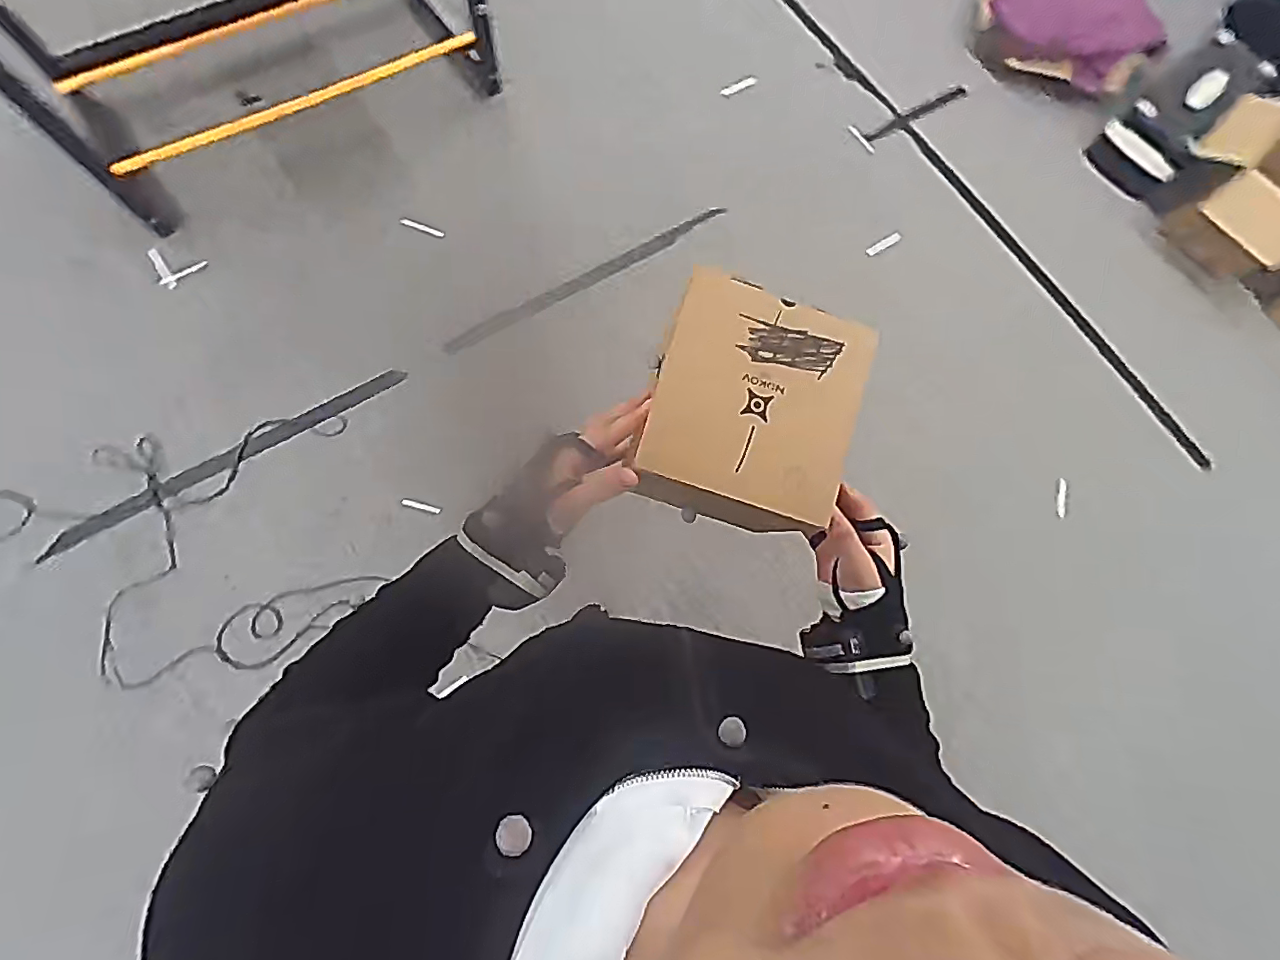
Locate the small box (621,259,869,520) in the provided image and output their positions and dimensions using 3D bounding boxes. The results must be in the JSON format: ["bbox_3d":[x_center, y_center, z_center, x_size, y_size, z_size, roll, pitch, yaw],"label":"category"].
[{"bbox_3d":[0.084,-0.068,0.515,0.168,0.176,0.179,17,82,-5],"label":"small box"}]

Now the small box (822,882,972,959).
[{"bbox_3d":[0.419,0.780,0.833,0.168,0.176,0.179,-31,78,-15],"label":"small box"}]
